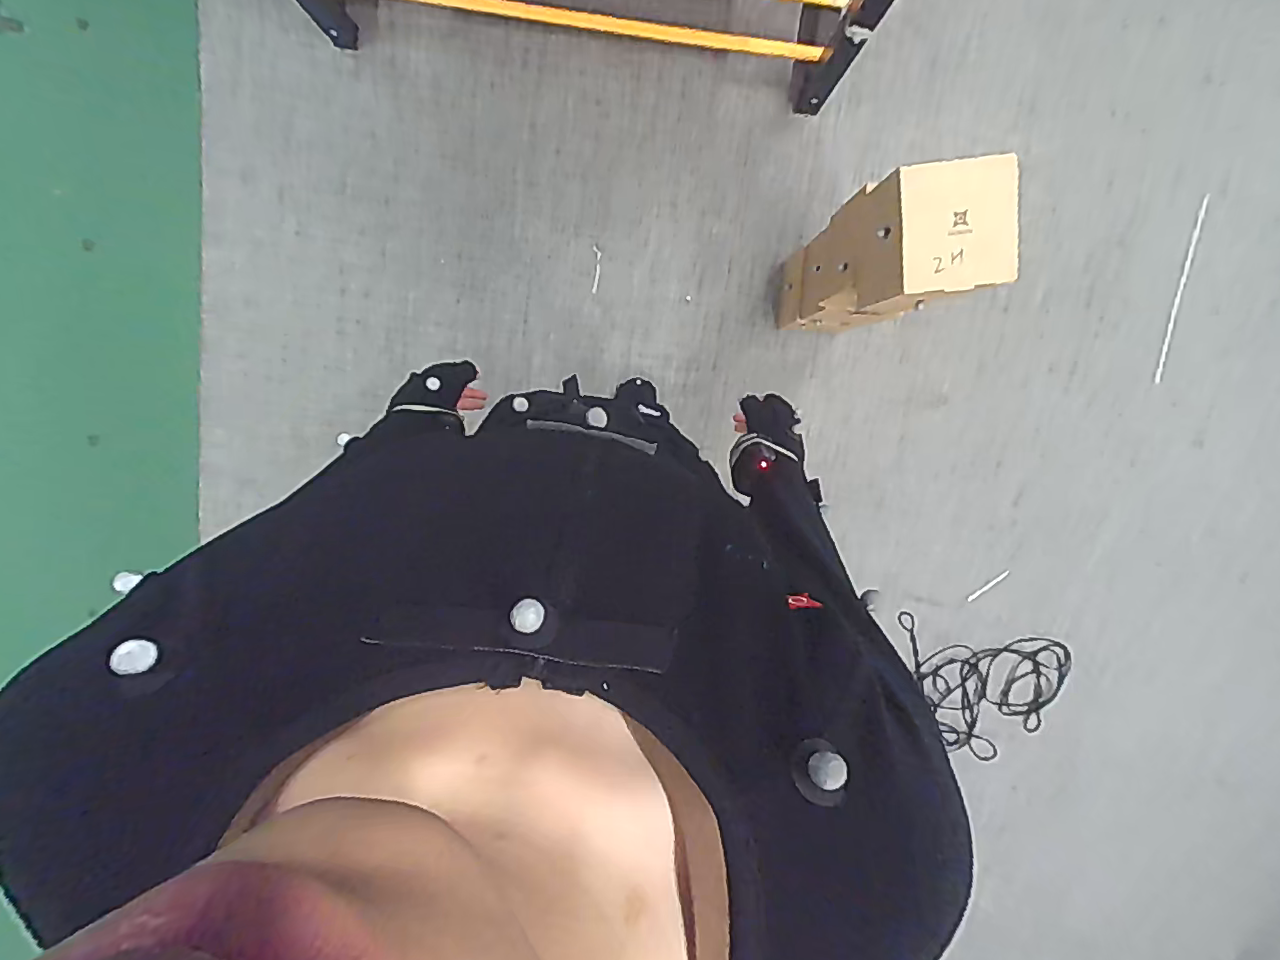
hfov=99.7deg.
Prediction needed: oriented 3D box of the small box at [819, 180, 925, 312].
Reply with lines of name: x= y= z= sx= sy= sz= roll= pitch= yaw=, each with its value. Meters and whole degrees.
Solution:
small box: x=0.447 y=-0.419 z=0.995 sx=0.168 sy=0.176 sz=0.179 roll=7 pitch=100 yaw=-1

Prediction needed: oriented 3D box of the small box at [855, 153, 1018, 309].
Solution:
small box: x=0.445 y=-0.373 z=0.837 sx=0.168 sy=0.176 sz=0.179 roll=-6 pitch=101 yaw=1

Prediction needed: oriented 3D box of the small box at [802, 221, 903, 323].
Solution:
small box: x=0.457 y=-0.439 z=1.157 sx=0.168 sy=0.176 sz=0.179 roll=4 pitch=99 yaw=-2
